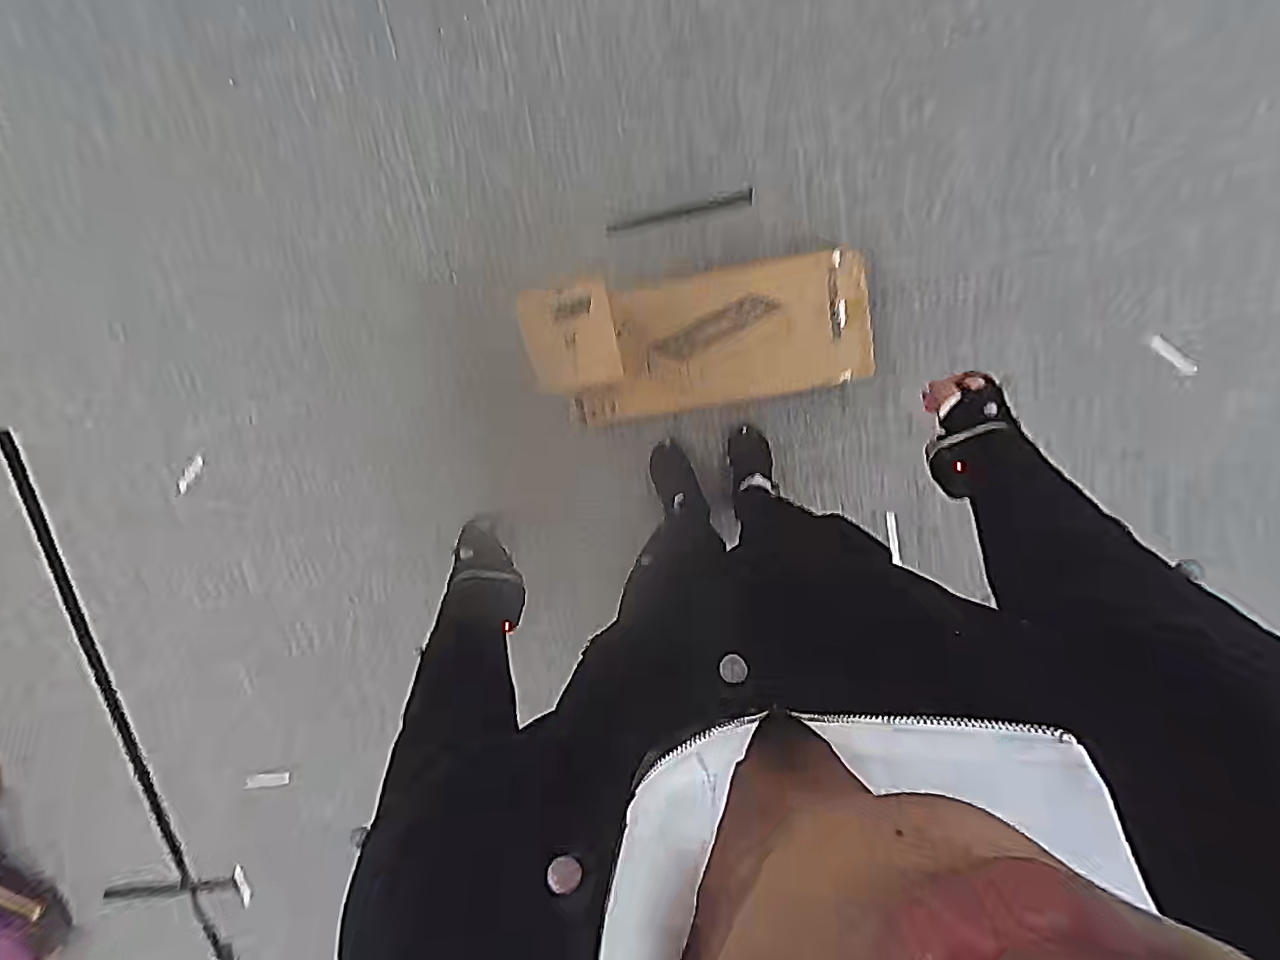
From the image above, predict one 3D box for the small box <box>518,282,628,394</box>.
[{"bbox_3d":[-0.123,-0.271,1.062,0.168,0.176,0.179,-11,101,5],"label":"small box"}]
